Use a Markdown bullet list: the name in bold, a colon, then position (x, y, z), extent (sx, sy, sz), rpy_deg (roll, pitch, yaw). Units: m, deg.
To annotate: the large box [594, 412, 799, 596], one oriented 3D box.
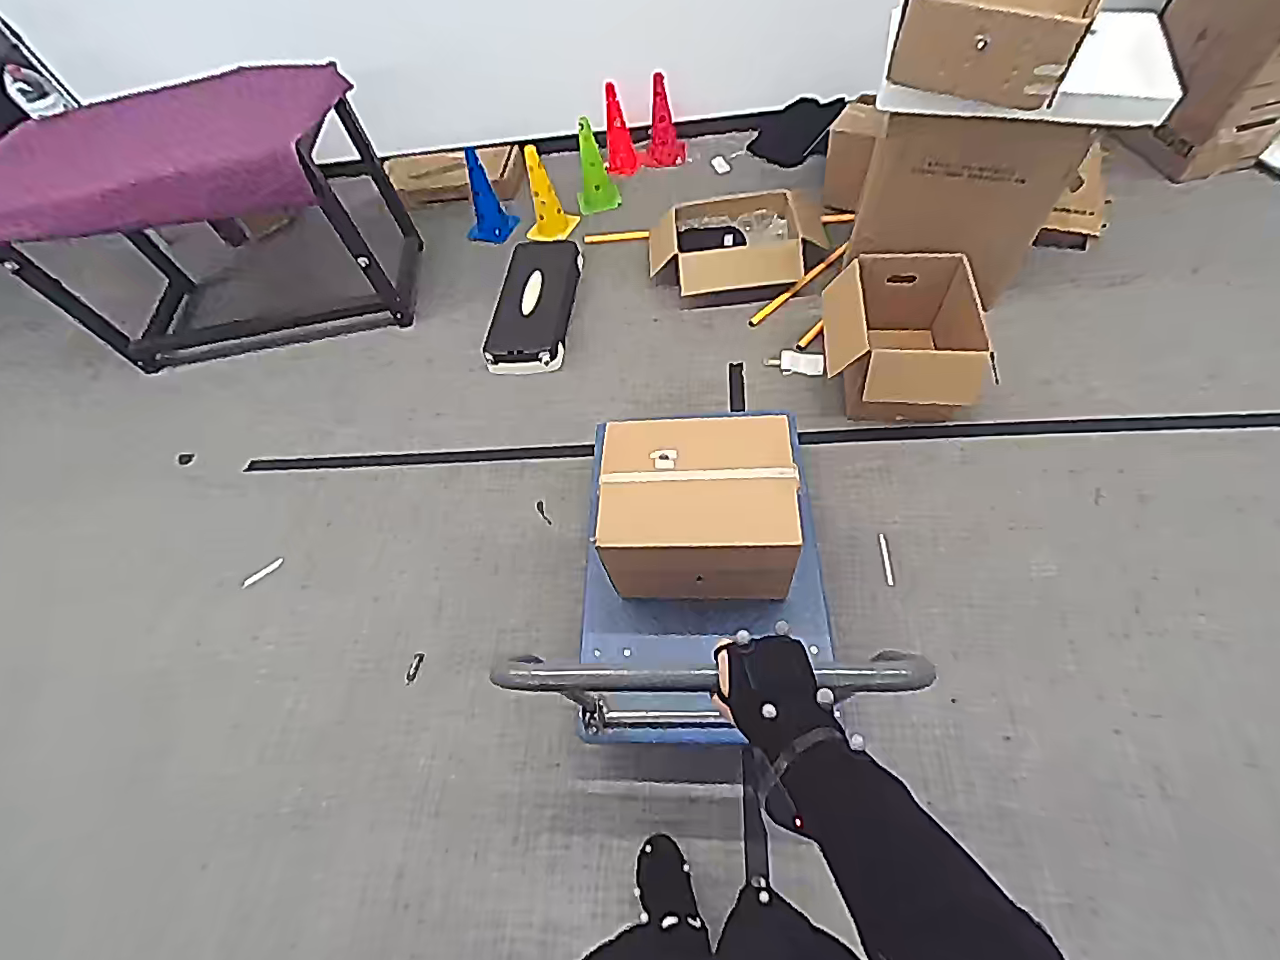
- **large box**: position (0.132, 0.069, 1.247), extent (0.408, 0.320, 0.320), rpy_deg (-3, 57, 8)
